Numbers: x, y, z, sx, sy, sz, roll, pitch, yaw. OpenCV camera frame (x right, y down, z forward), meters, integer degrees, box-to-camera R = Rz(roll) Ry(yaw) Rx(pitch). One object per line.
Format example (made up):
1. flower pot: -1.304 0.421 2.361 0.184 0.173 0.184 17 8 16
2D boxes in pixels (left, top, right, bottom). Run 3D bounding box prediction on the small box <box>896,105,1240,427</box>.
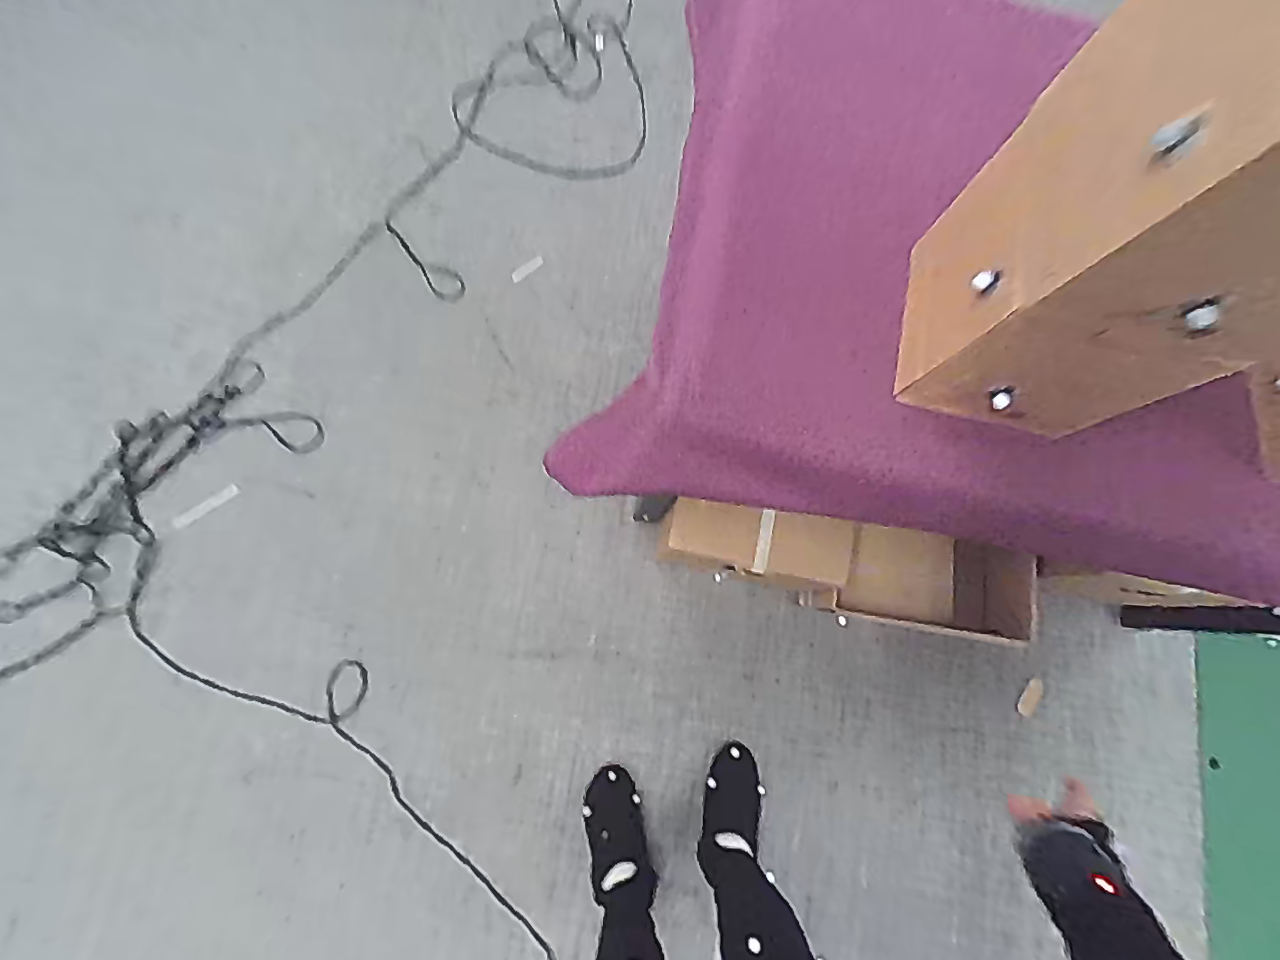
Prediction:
1. small box: 0.347 -0.167 0.470 0.168 0.176 0.179 13 77 -1
